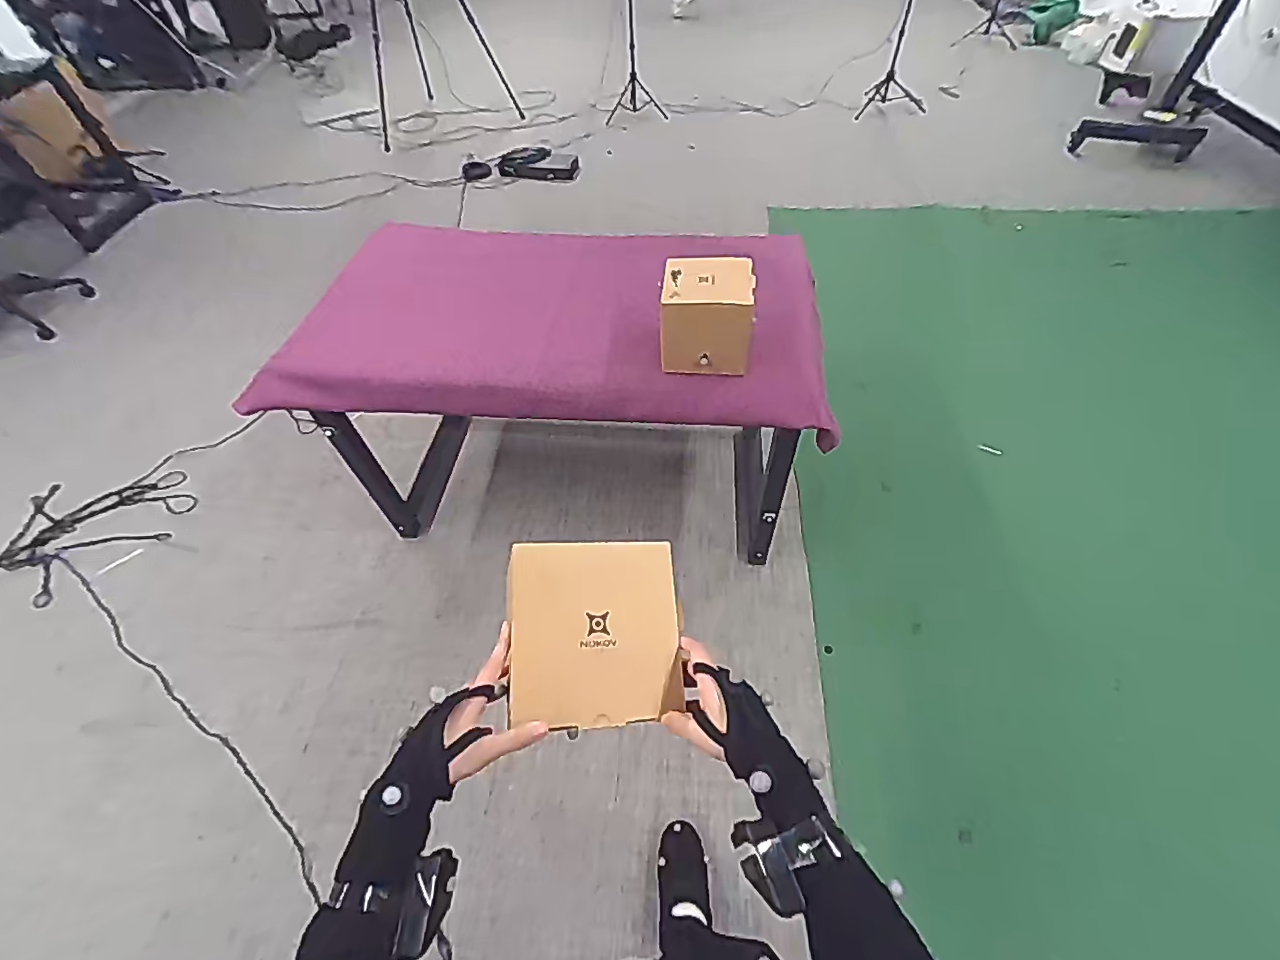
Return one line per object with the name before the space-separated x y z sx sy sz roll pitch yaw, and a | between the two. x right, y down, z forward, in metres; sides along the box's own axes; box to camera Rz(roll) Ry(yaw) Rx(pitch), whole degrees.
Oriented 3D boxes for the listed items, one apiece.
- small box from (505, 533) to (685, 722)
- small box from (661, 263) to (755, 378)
small box | -0.061 0.166 0.594 0.168 0.176 0.179 1 67 -14
small box | 0.138 -0.326 1.116 0.179 0.176 0.168 3 49 7
